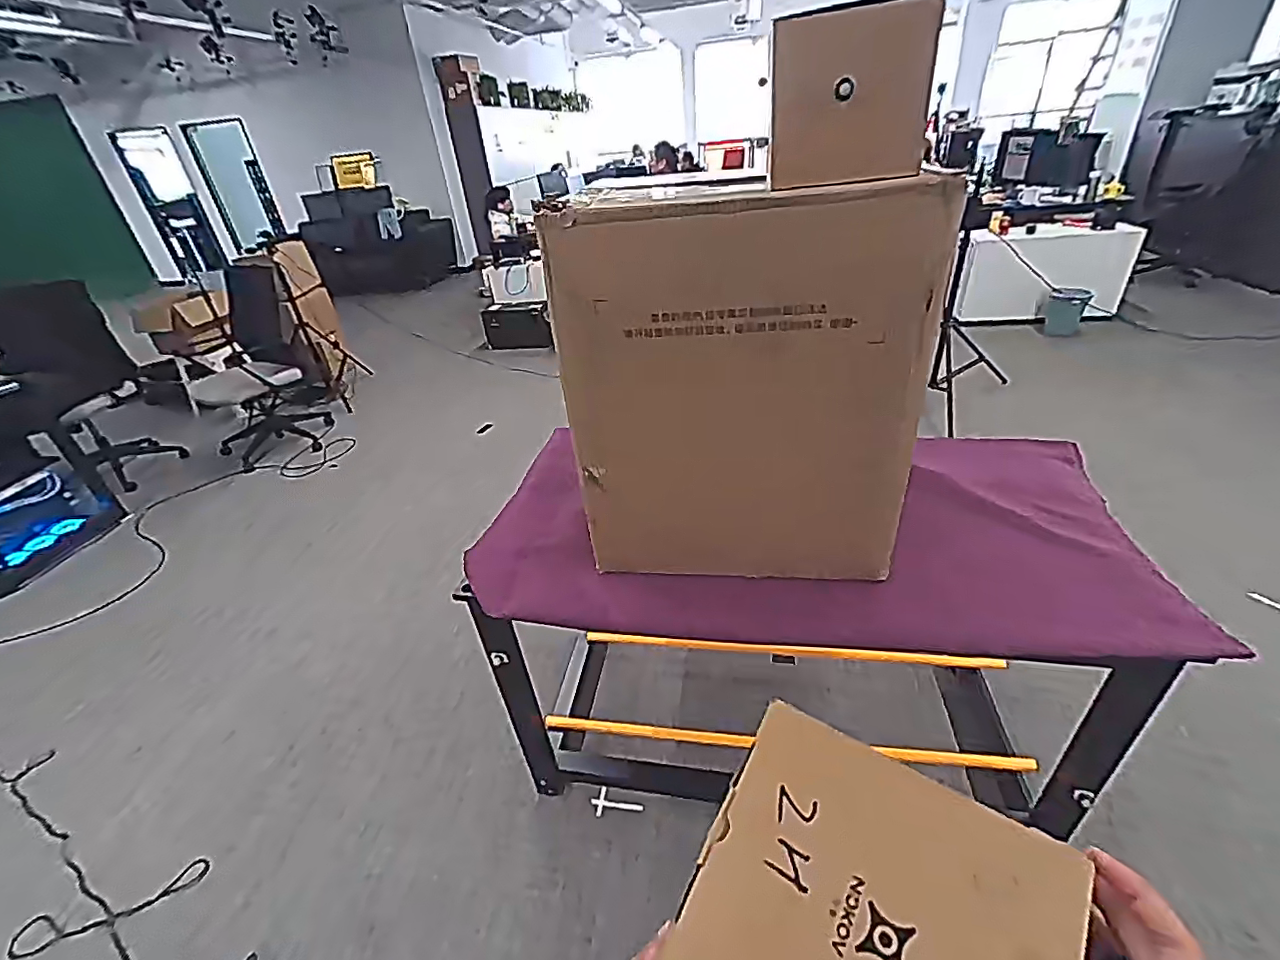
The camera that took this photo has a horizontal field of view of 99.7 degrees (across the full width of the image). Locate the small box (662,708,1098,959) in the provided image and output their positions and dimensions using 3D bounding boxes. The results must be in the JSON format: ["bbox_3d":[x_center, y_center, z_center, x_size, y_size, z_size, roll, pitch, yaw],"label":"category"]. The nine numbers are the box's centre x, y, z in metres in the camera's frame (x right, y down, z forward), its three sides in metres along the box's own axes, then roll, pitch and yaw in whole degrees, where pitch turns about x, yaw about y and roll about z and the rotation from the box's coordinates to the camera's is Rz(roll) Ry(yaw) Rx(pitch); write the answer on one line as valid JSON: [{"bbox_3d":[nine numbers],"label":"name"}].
[{"bbox_3d":[0.133,0.280,0.338,0.179,0.176,0.168,20,59,27],"label":"small box"}]
